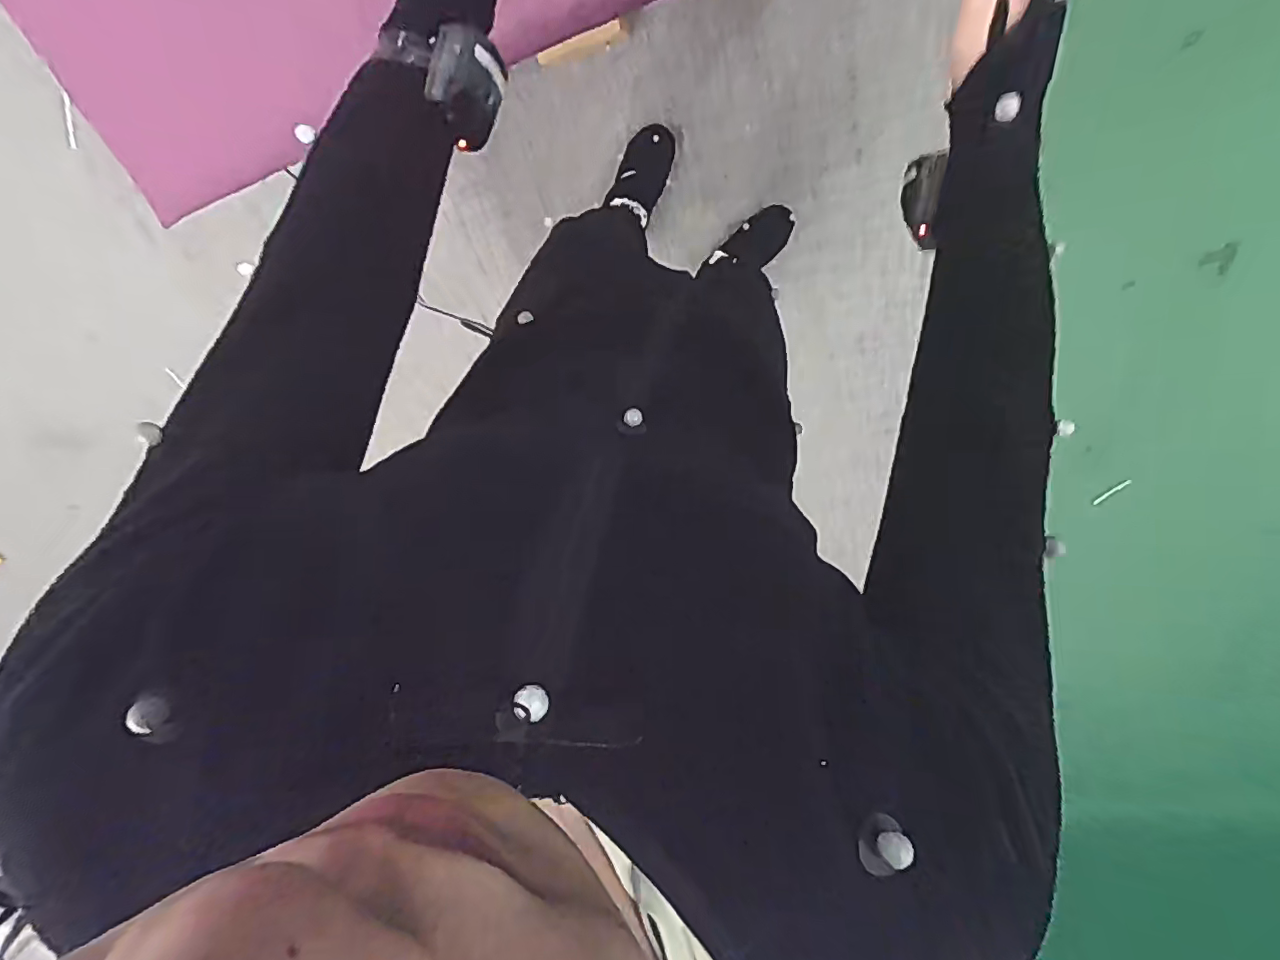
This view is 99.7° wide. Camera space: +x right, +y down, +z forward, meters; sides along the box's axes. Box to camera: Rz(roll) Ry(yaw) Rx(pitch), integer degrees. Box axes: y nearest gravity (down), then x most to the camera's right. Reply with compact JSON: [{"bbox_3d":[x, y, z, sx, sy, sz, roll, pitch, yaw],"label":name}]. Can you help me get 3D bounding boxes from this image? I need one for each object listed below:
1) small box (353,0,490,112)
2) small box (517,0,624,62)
[{"bbox_3d":[-0.449,-0.902,1.140,0.179,0.176,0.168,-12,124,15],"label":"small box"},{"bbox_3d":[-0.137,-0.951,1.061,0.179,0.176,0.168,-10,124,15],"label":"small box"}]
